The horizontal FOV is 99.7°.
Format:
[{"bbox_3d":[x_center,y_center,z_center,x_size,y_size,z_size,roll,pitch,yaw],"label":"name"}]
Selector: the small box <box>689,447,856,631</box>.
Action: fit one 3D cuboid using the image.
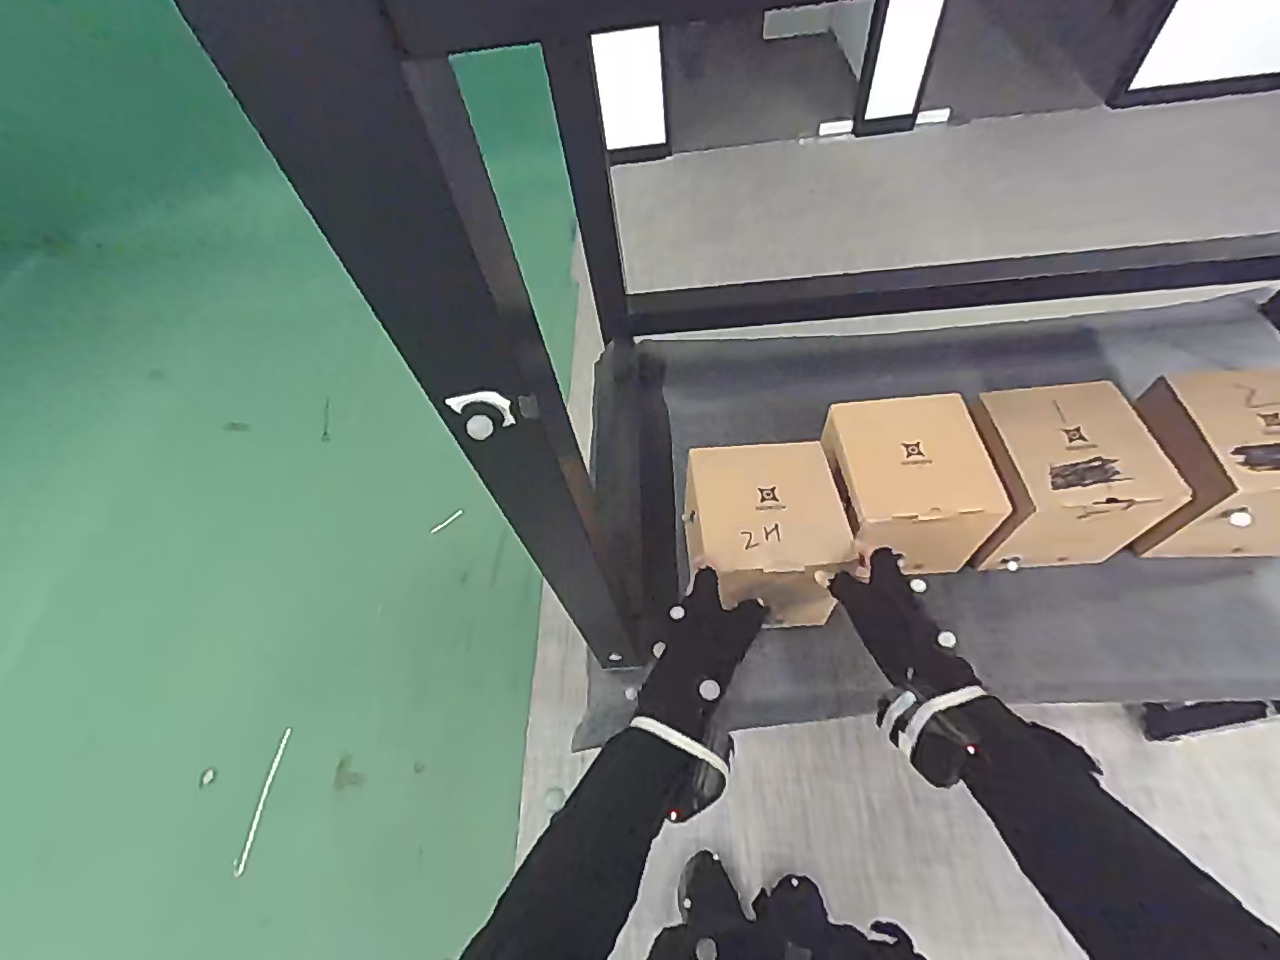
[{"bbox_3d":[0.154,0.078,0.702,0.168,0.176,0.179,-4,53,0],"label":"small box"}]
